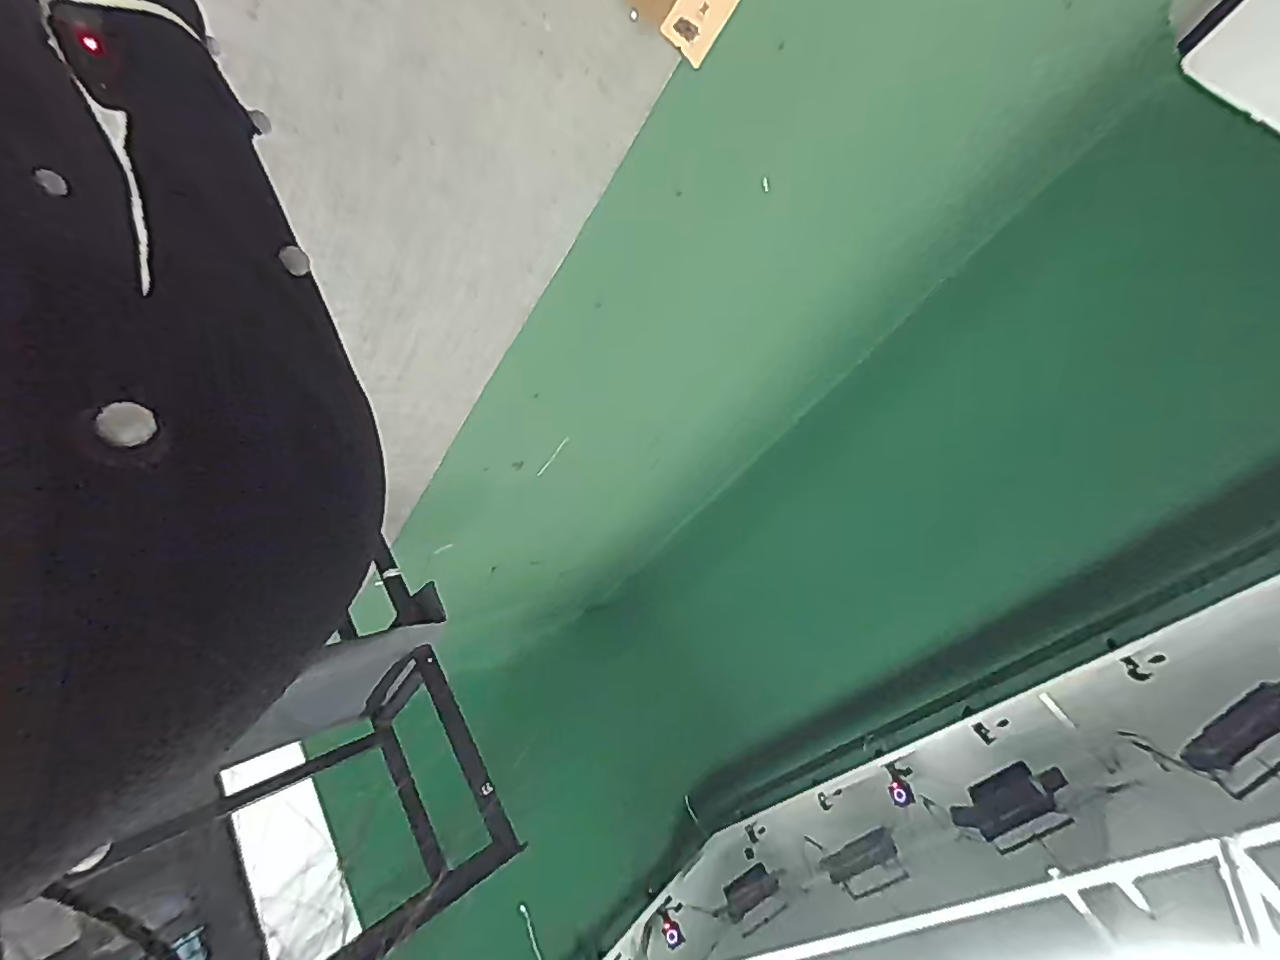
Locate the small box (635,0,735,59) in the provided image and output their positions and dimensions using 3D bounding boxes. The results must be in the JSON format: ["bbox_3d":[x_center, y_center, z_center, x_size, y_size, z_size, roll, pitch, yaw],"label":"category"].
[{"bbox_3d":[0.098,-1.163,1.272,0.168,0.176,0.179,-6,145,-53],"label":"small box"}]
